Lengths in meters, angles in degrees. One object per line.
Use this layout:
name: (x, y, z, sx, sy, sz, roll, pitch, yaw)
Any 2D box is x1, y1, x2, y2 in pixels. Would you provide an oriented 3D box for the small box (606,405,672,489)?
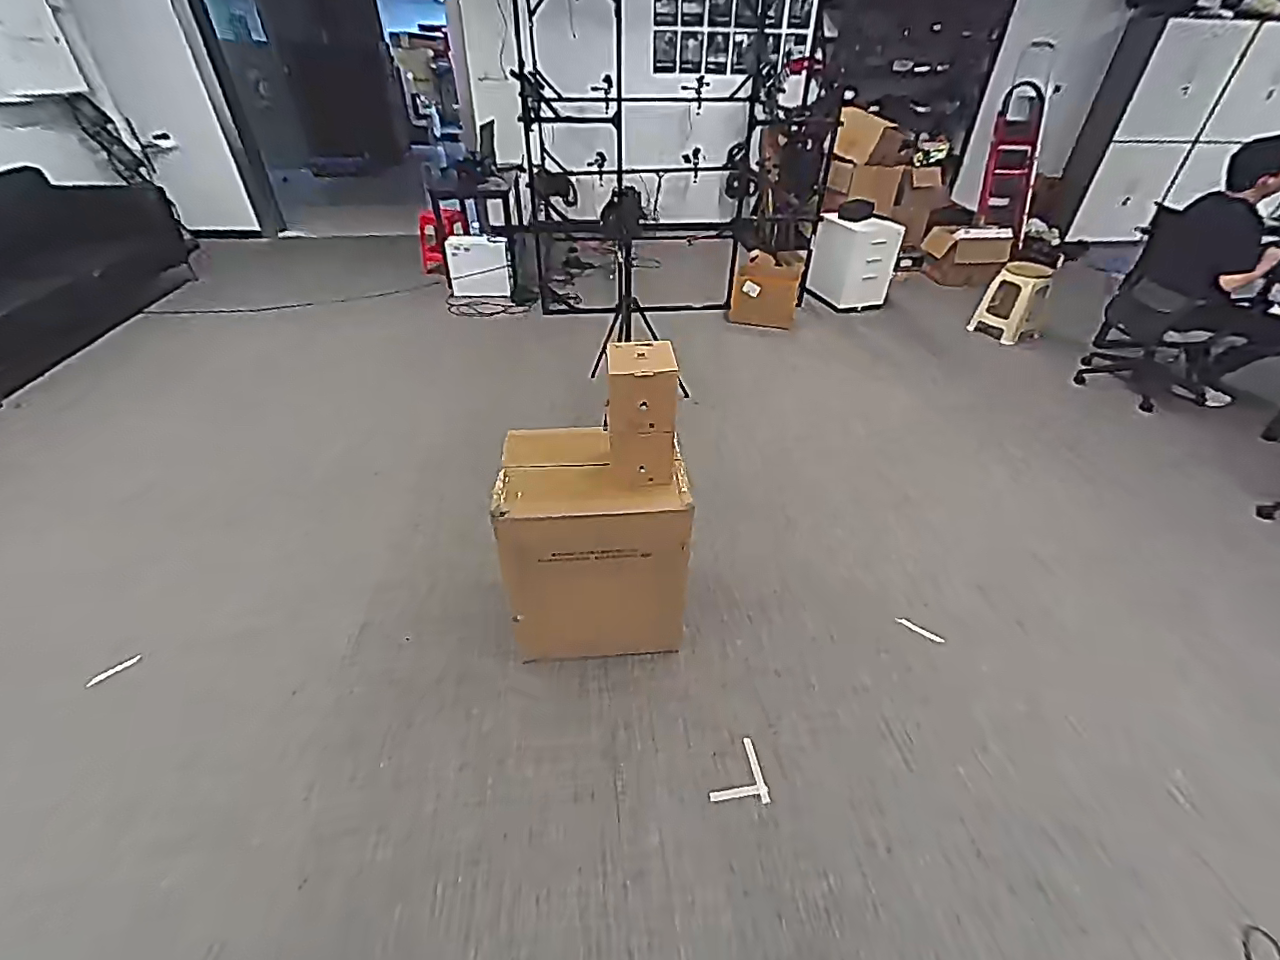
small box: (-0.008, -0.095, 1.476, 0.168, 0.176, 0.179, -4, 39, -4)

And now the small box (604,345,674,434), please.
small box: (-0.004, -0.227, 1.378, 0.168, 0.176, 0.179, -3, 39, -3)
